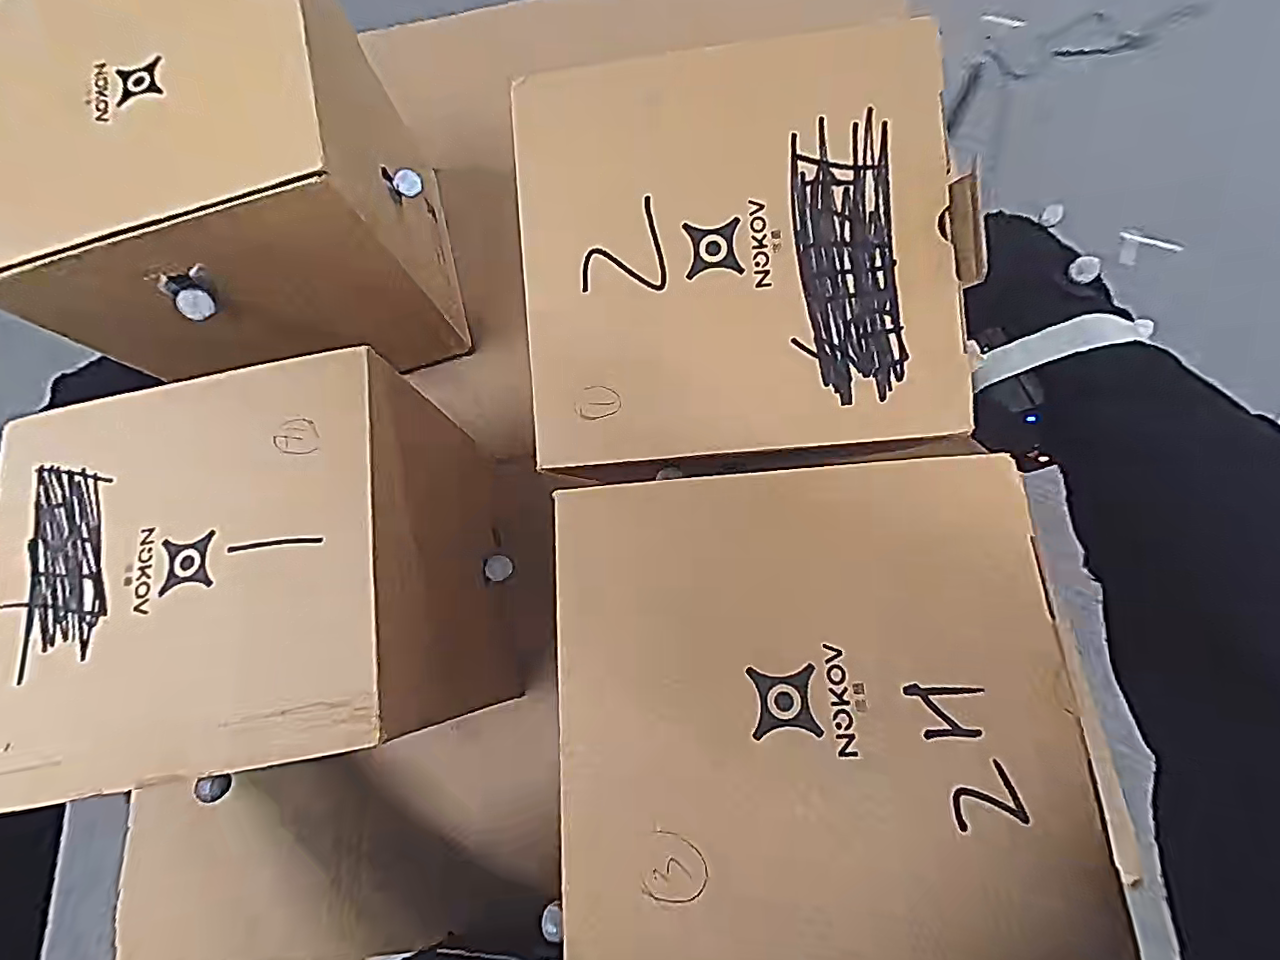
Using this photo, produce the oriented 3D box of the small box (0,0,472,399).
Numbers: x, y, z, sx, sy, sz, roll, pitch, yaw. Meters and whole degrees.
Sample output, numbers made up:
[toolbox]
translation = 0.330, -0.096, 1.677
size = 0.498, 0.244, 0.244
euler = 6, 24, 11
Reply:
[small box]
translation = -0.221, -0.171, 0.339
size = 0.179, 0.176, 0.168
euler = -15, 76, 3
